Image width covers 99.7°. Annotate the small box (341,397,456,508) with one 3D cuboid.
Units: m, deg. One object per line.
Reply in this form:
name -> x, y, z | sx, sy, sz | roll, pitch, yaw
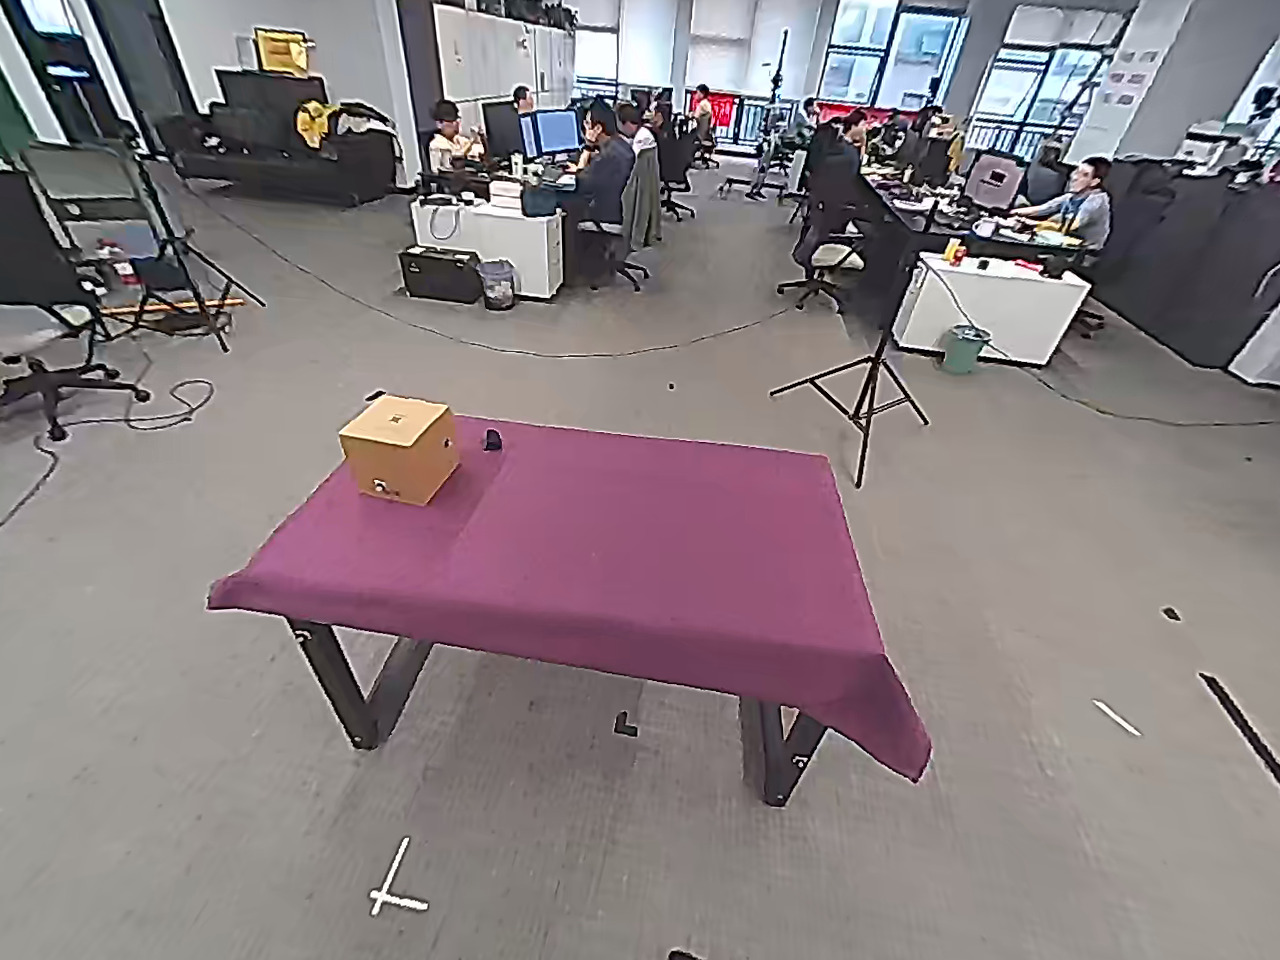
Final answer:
small box -> -0.533, -0.063, 1.225 | 0.168, 0.176, 0.179 | 9, 39, 7
